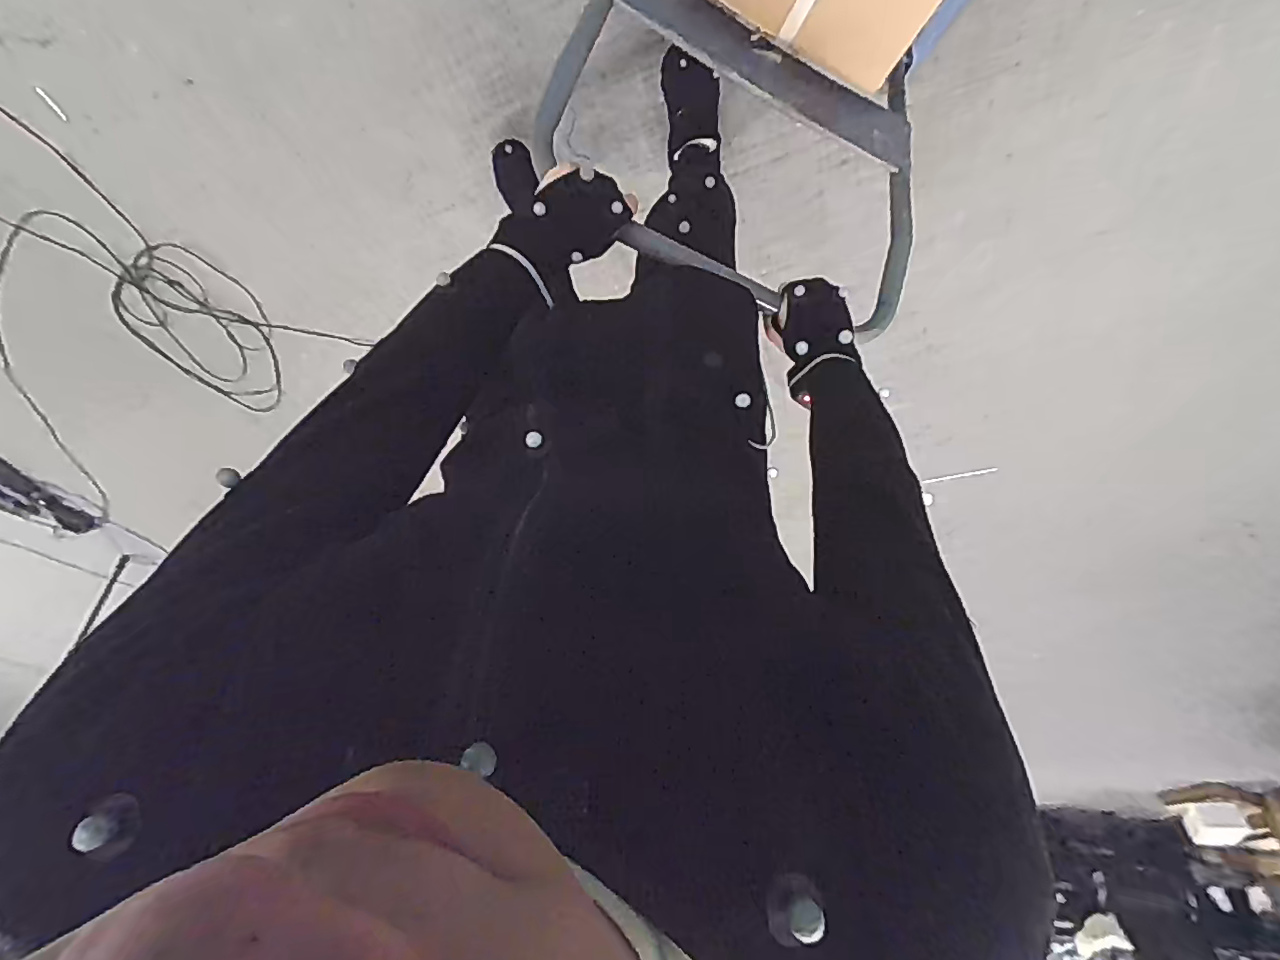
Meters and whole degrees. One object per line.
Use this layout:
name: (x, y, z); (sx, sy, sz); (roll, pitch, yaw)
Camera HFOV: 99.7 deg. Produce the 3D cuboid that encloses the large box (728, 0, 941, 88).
large box: (0.300, -0.819, 0.657); (0.320, 0.320, 0.408); (21, 148, -13)
